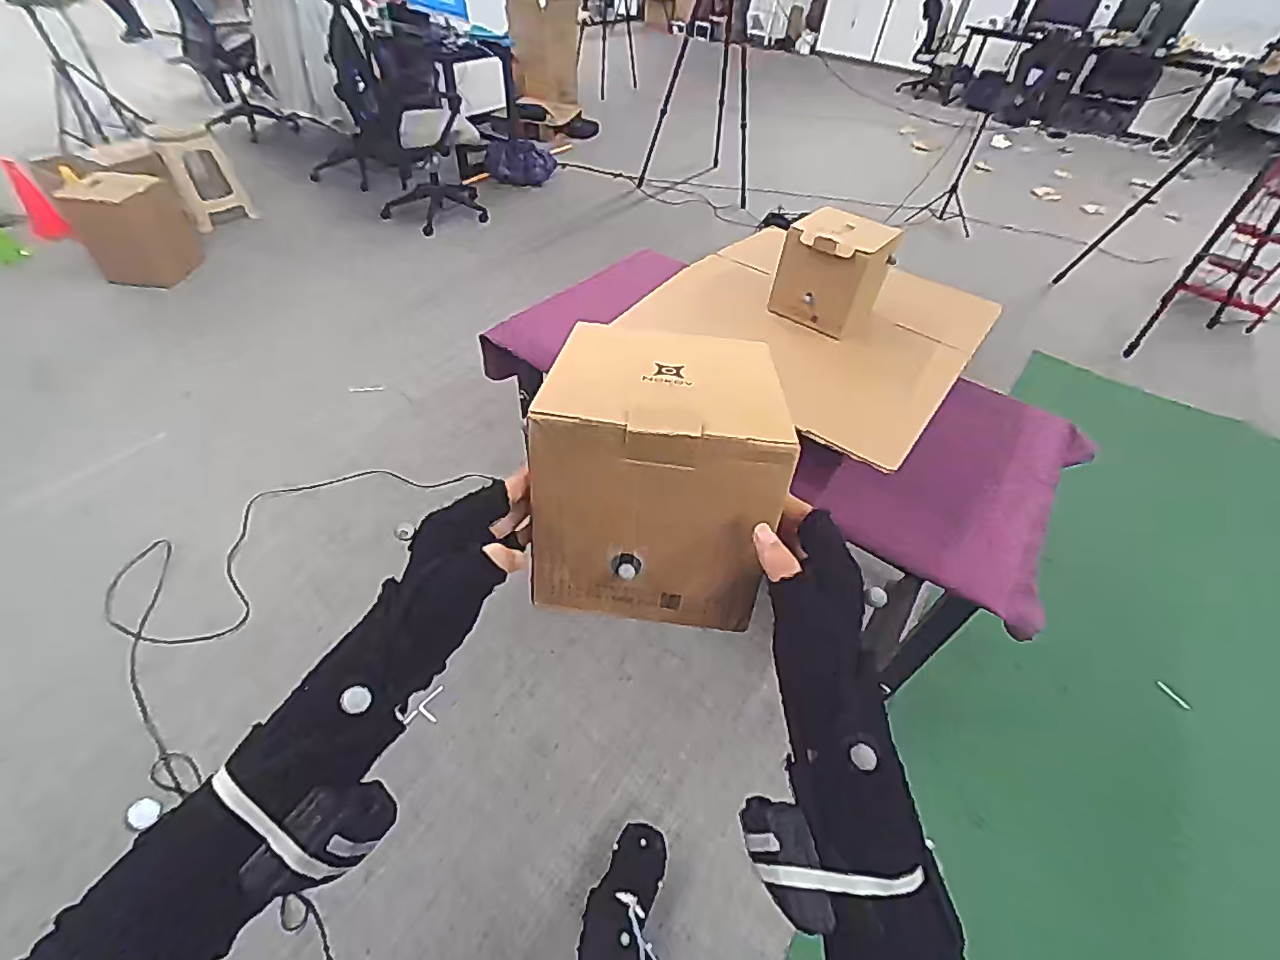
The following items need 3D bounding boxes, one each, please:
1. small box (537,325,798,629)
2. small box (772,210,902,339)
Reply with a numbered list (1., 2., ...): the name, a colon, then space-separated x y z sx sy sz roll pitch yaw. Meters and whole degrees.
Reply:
1. small box: 0.015 -0.008 0.442 0.168 0.176 0.179 7 35 1
2. small box: 0.386 -0.411 1.083 0.168 0.176 0.179 32 51 24
